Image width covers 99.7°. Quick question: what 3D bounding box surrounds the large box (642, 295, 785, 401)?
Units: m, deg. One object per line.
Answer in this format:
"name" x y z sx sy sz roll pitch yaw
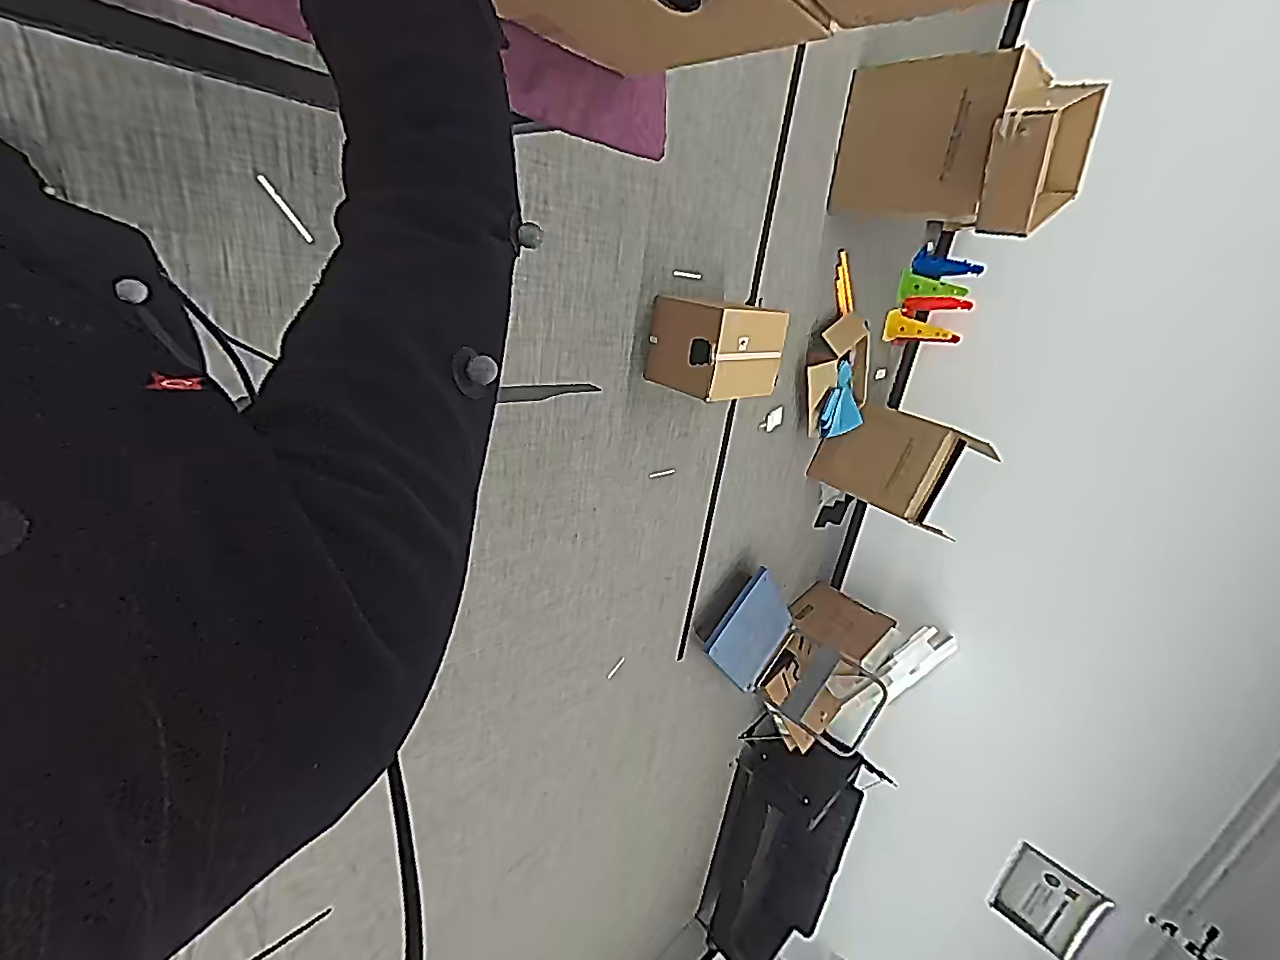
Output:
"large box" 0.269 -0.499 2.003 0.408 0.320 0.320 -14 120 -42
